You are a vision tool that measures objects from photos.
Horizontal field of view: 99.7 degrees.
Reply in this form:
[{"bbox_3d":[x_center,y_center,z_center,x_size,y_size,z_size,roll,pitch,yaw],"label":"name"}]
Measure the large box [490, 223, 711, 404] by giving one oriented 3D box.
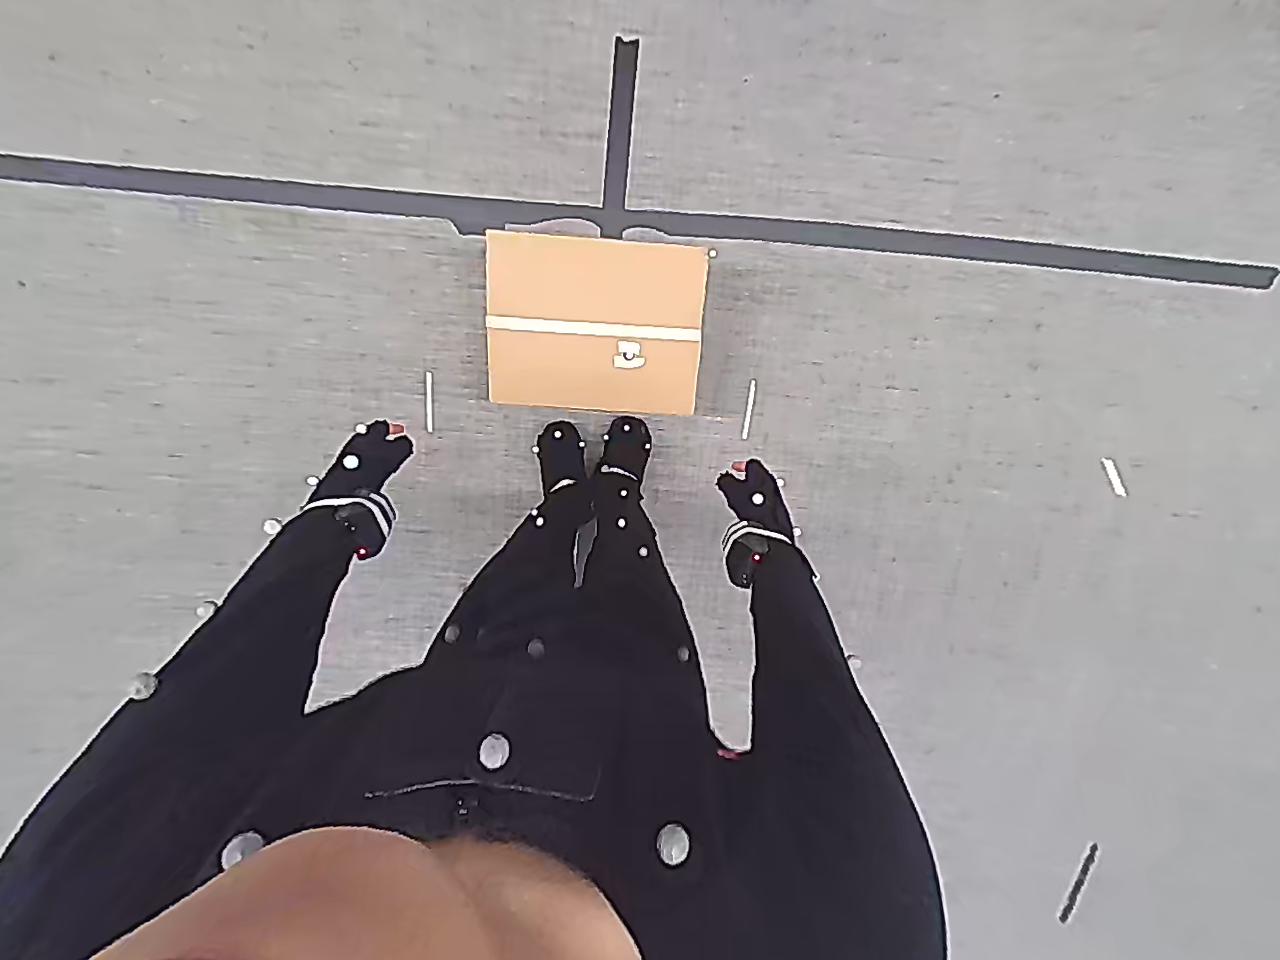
[{"bbox_3d":[-0.085,-0.347,1.154,0.408,0.320,0.320,3,109,-4],"label":"large box"}]
